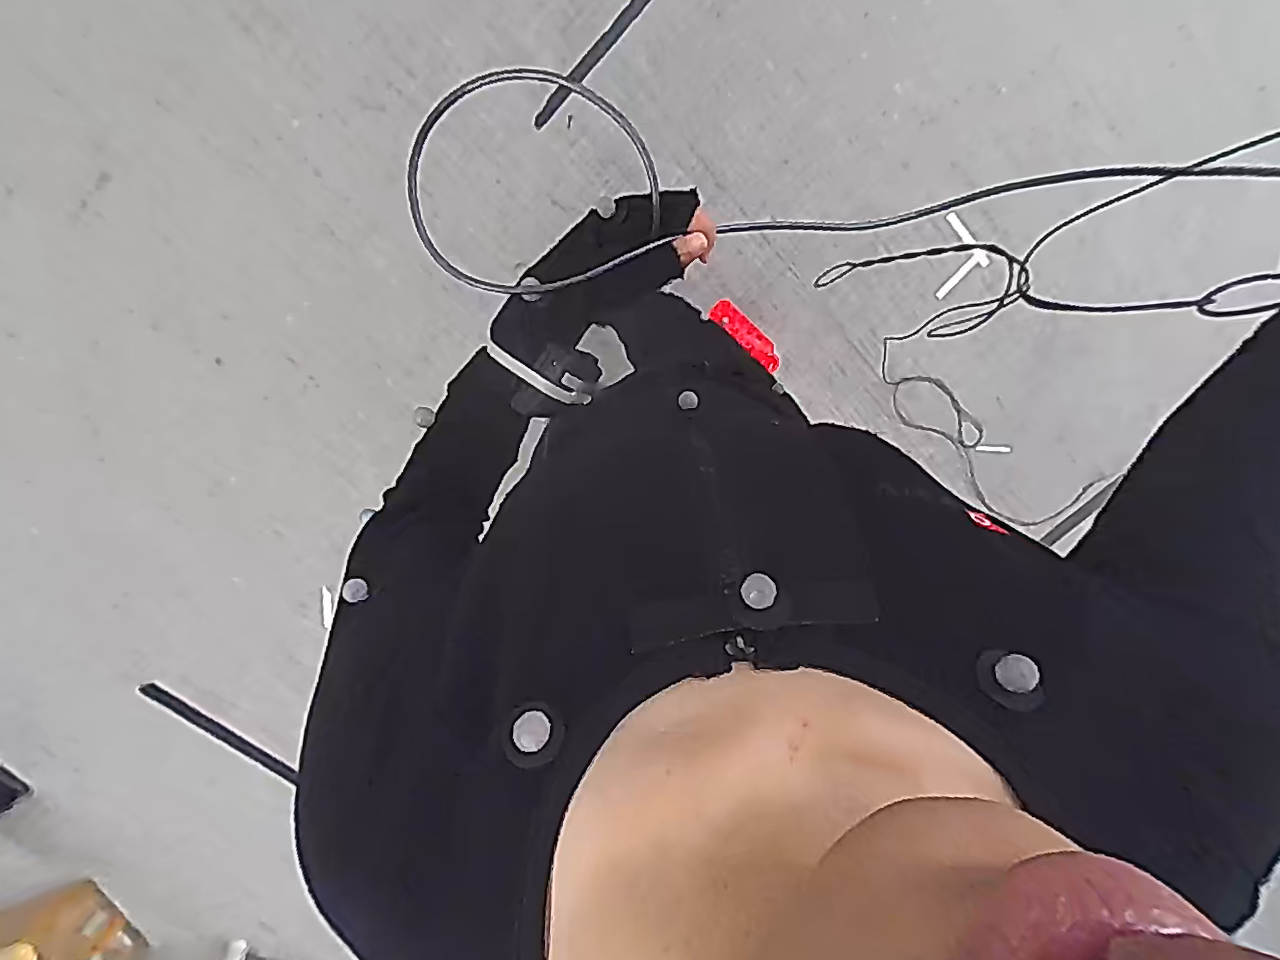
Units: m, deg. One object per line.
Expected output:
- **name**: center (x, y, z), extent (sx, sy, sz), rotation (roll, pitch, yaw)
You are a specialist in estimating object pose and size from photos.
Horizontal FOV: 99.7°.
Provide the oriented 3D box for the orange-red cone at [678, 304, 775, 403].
- **orange-red cone**: center (0.236, -0.273, 1.232), extent (0.198, 0.360, 0.199), rotation (39, 100, -14)
